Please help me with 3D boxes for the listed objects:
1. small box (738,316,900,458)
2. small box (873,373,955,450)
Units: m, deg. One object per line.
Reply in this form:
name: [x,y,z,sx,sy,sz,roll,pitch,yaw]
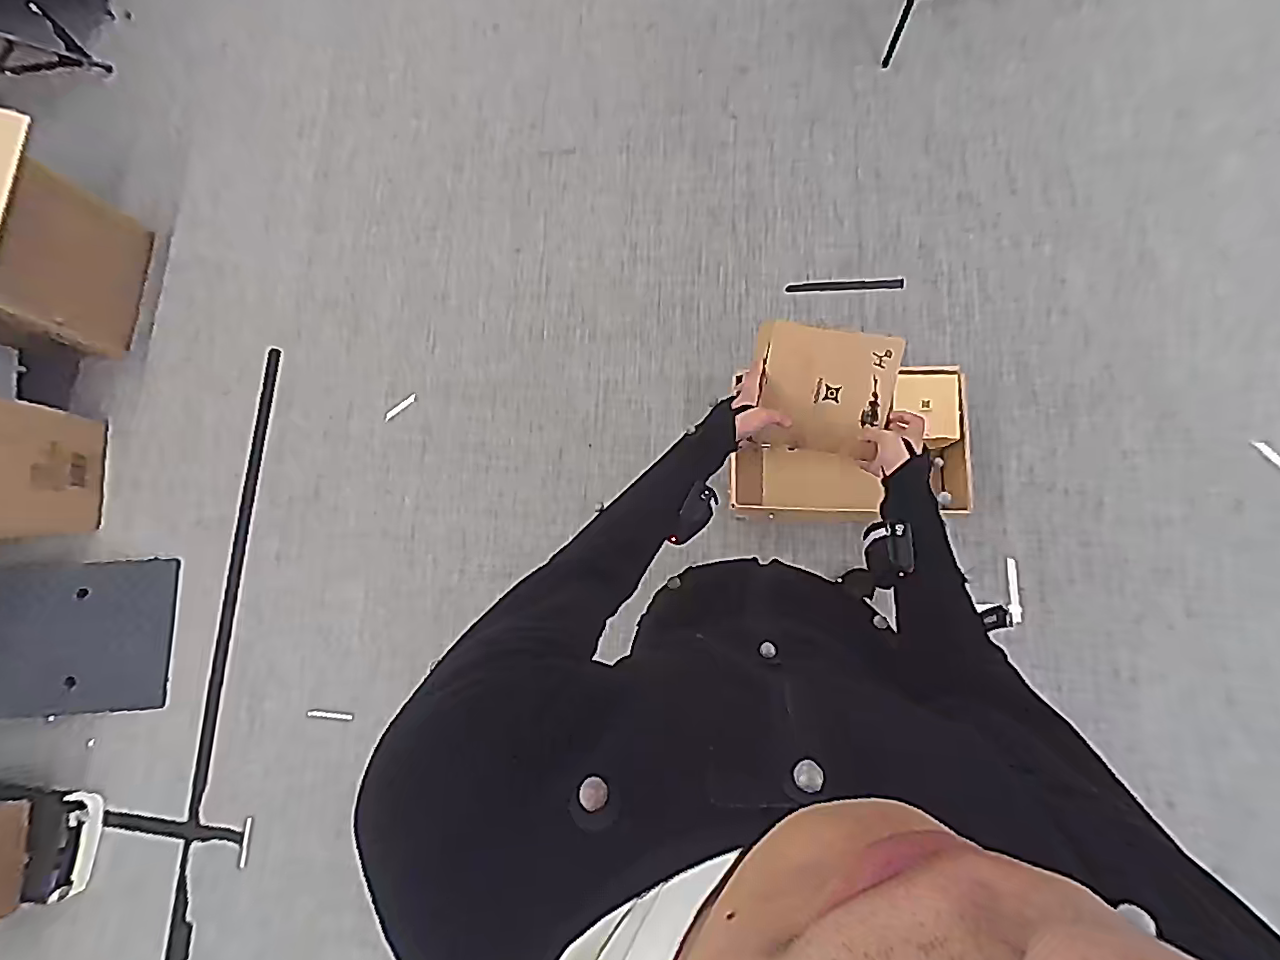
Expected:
small box: [0.249,-0.139,0.802,0.179,0.176,0.168,10,104,4]
small box: [0.753,-0.187,1.504,0.168,0.176,0.179,1,83,9]
